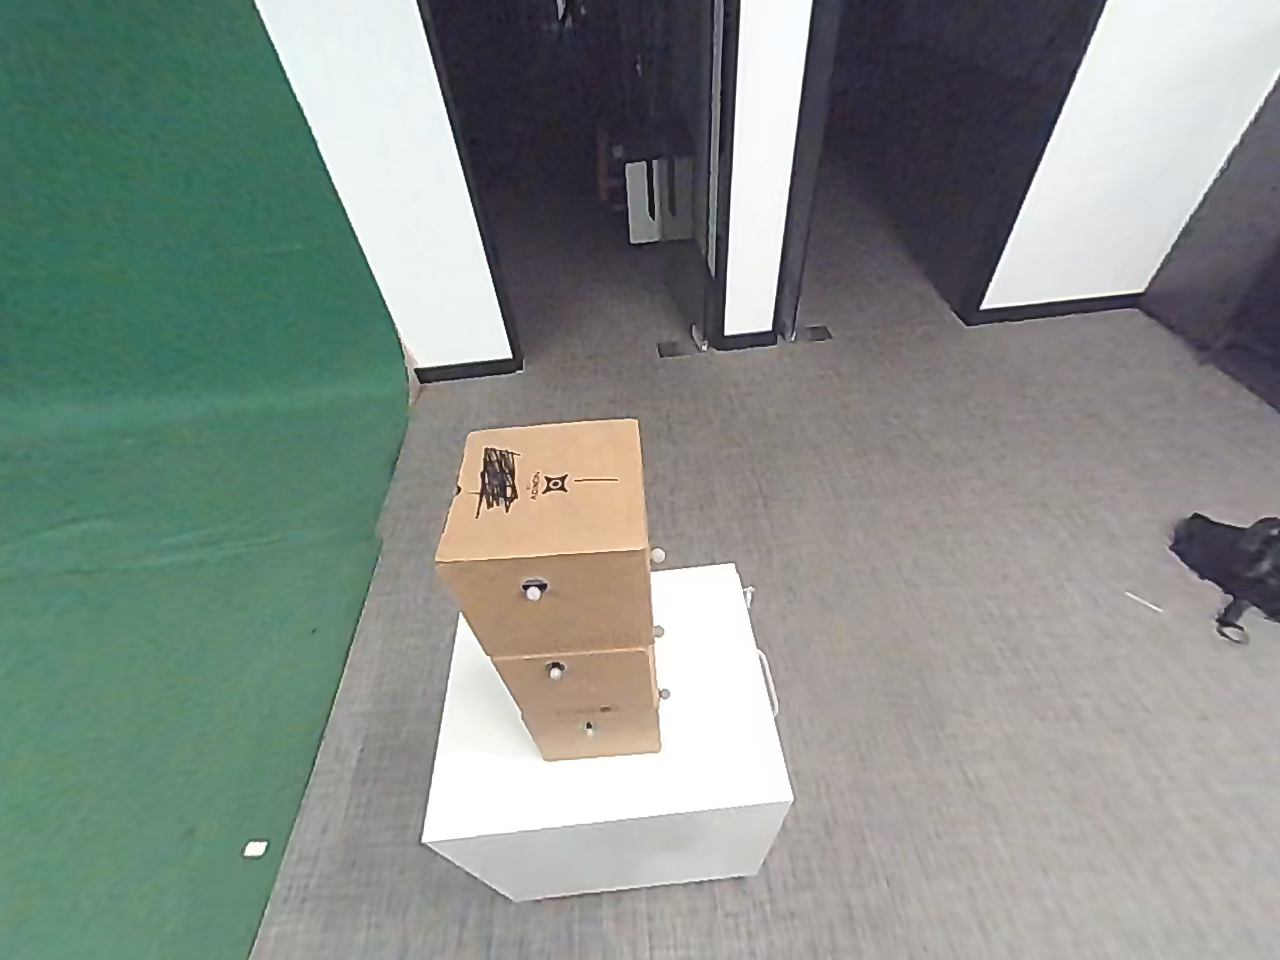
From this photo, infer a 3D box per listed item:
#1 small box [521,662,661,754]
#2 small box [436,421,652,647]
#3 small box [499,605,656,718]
[{"bbox_3d":[-0.064,0.288,0.795,0.179,0.176,0.168,-4,46,0],"label":"small box"},{"bbox_3d":[-0.082,0.060,0.561,0.179,0.176,0.168,-4,46,1],"label":"small box"},{"bbox_3d":[-0.070,0.175,0.681,0.168,0.176,0.179,-5,46,-1],"label":"small box"}]
